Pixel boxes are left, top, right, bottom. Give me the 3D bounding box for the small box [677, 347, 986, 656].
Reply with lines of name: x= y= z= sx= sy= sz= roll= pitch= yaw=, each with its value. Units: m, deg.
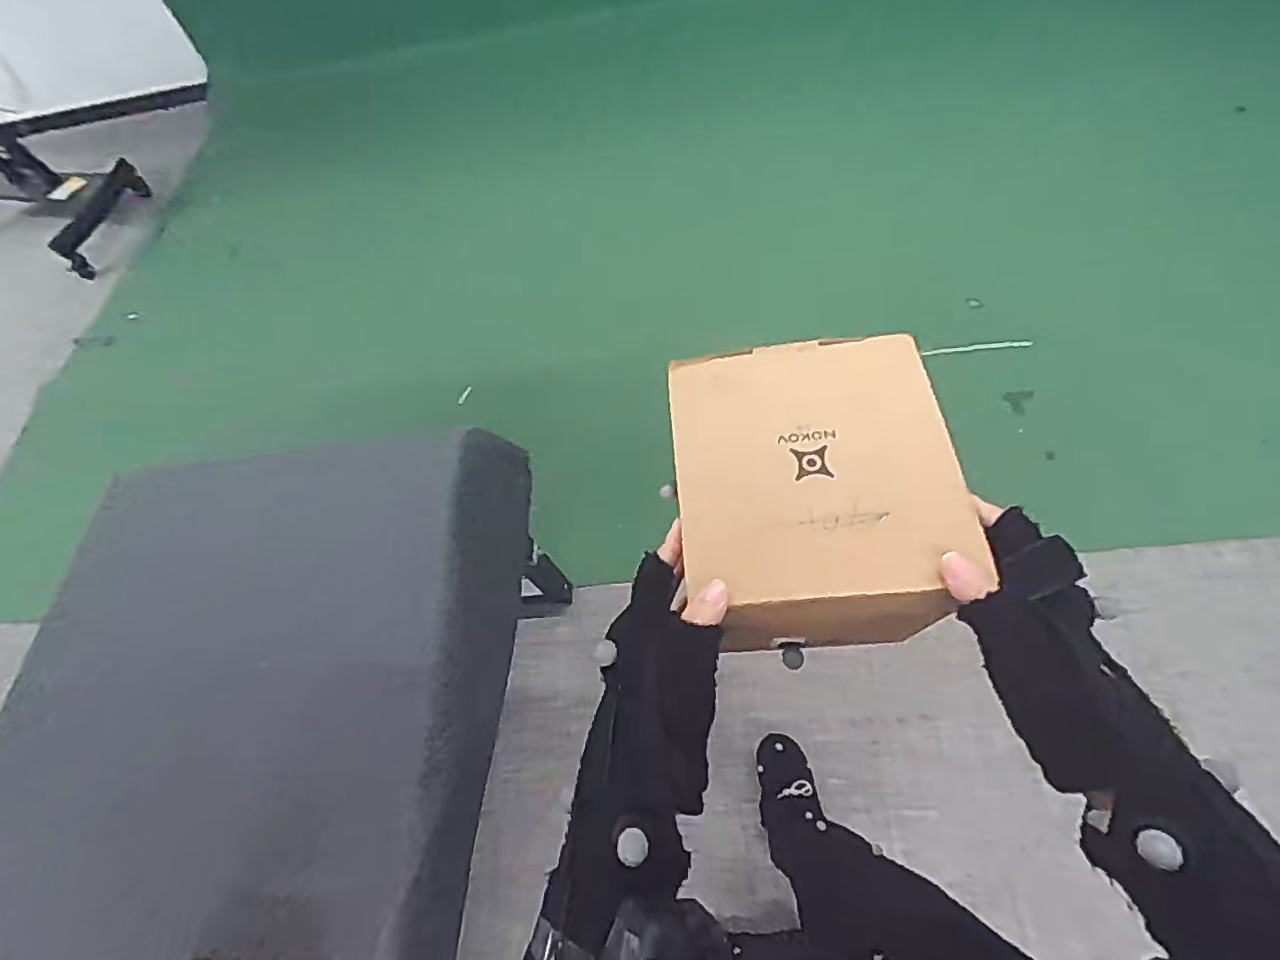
small box: x=0.114 y=0.027 z=0.407 sx=0.168 sy=0.176 sz=0.179 roll=-4 pitch=62 yaw=6
